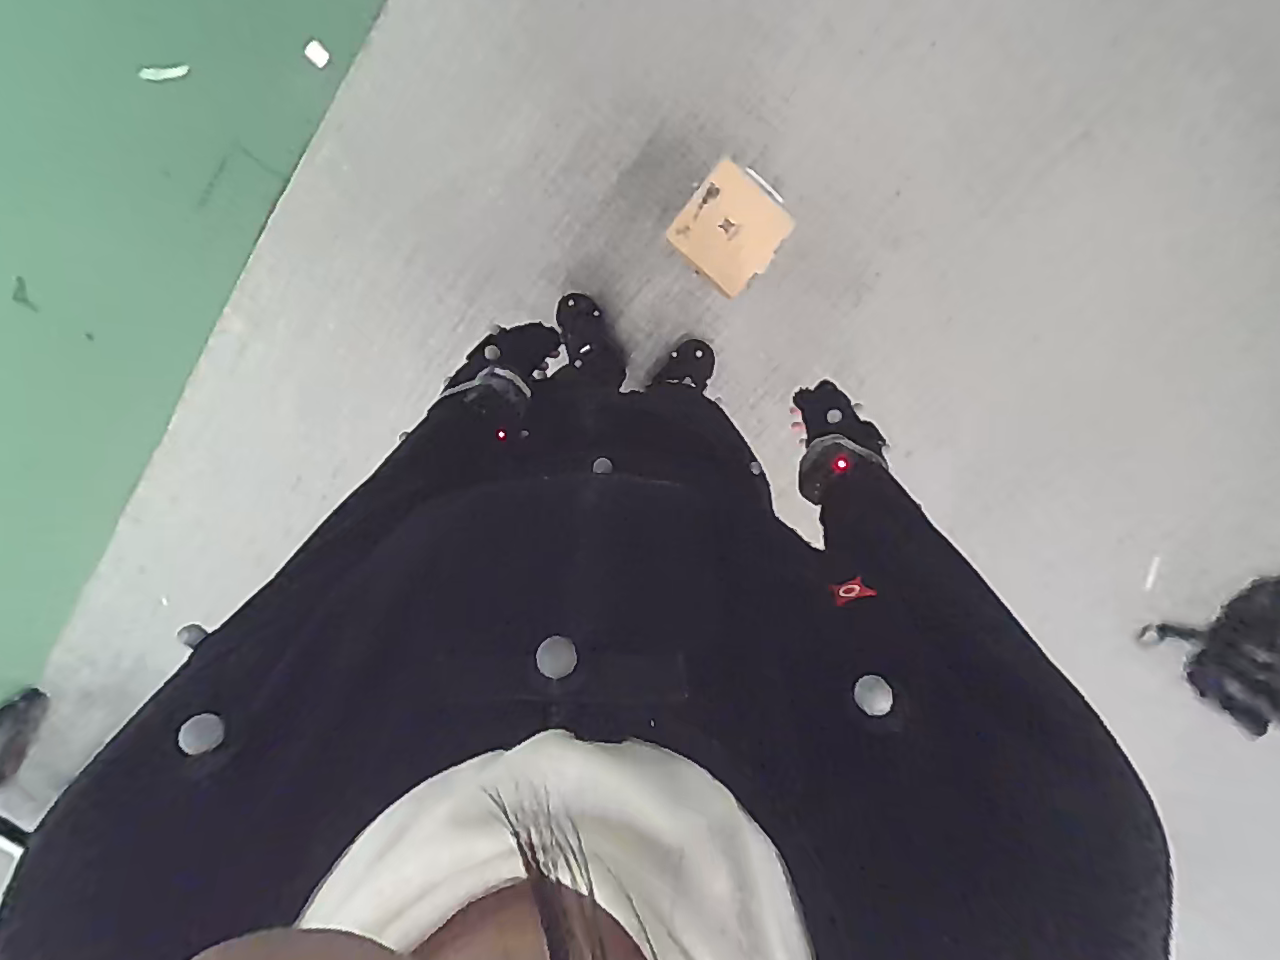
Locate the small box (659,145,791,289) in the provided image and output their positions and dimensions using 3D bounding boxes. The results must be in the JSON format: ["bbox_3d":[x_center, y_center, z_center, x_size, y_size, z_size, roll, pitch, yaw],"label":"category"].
[{"bbox_3d":[0.156,-0.490,1.031,0.179,0.176,0.168,40,107,-10],"label":"small box"}]
